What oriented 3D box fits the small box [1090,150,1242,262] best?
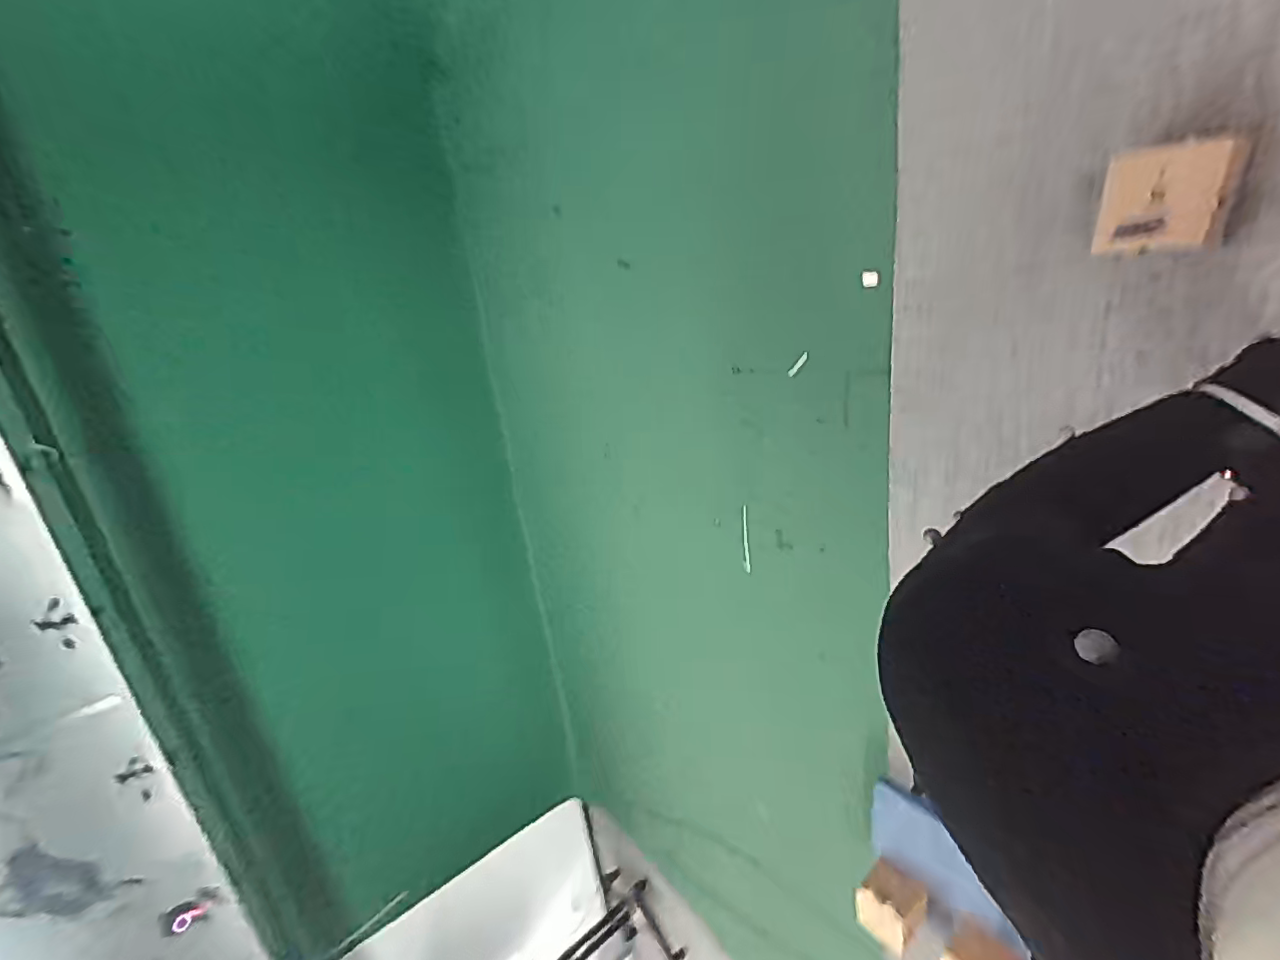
[{"bbox_3d":[1.022,-0.526,1.052,0.168,0.176,0.179,22,123,47],"label":"small box"}]

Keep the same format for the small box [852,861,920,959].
[{"bbox_3d":[0.873,1.518,1.917,0.168,0.176,0.179,15,117,50],"label":"small box"}]

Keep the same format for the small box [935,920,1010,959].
[{"bbox_3d":[1.047,1.562,1.702,0.168,0.176,0.179,17,118,50],"label":"small box"}]
